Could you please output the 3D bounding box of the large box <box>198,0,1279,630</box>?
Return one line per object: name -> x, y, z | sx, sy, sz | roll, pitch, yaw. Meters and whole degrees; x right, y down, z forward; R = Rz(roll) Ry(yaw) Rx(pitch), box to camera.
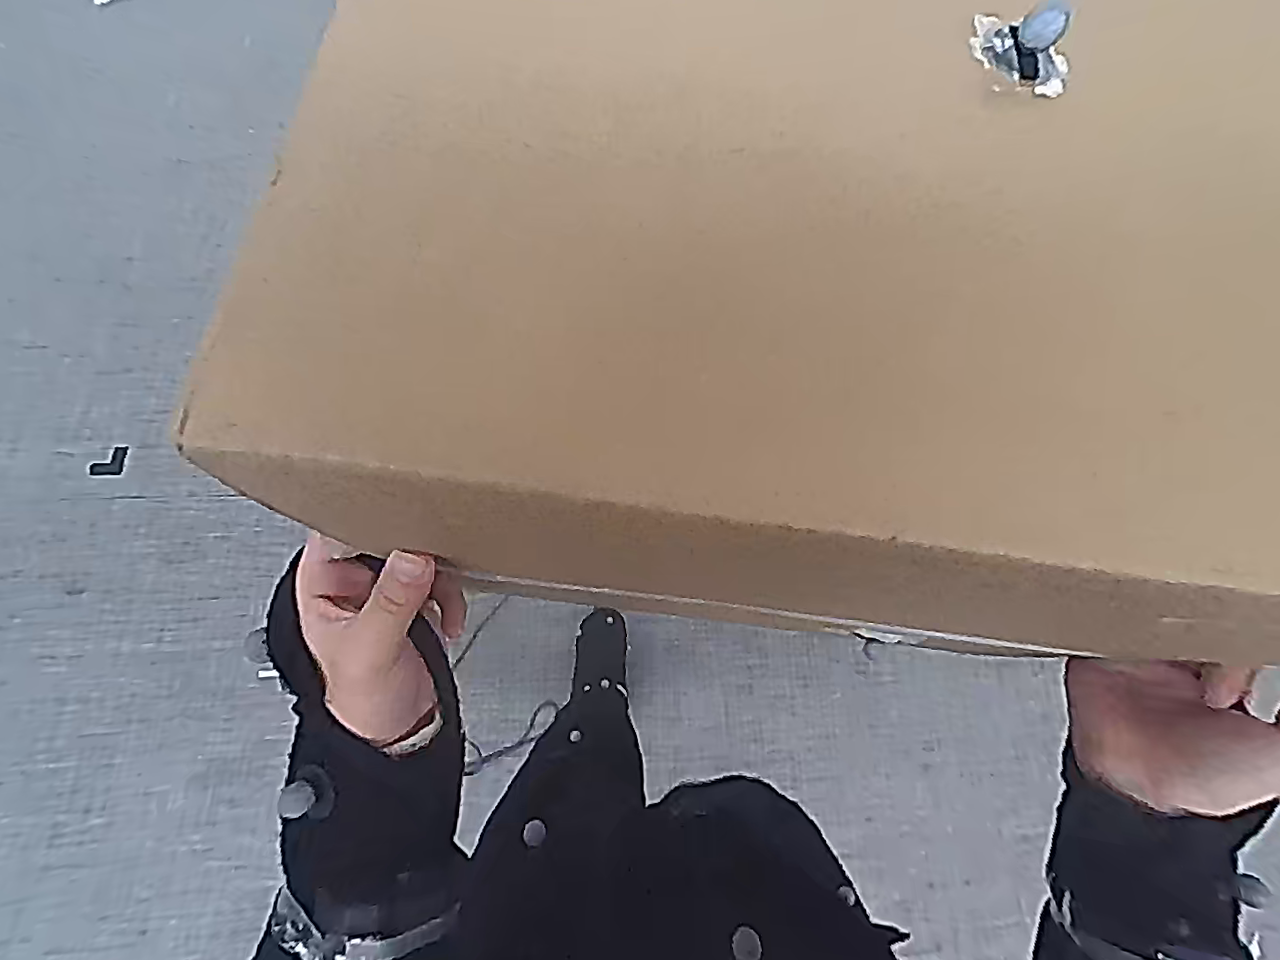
large box -> 0.092, -0.096, 0.316 | 0.408, 0.320, 0.320 | 7, 74, -6
